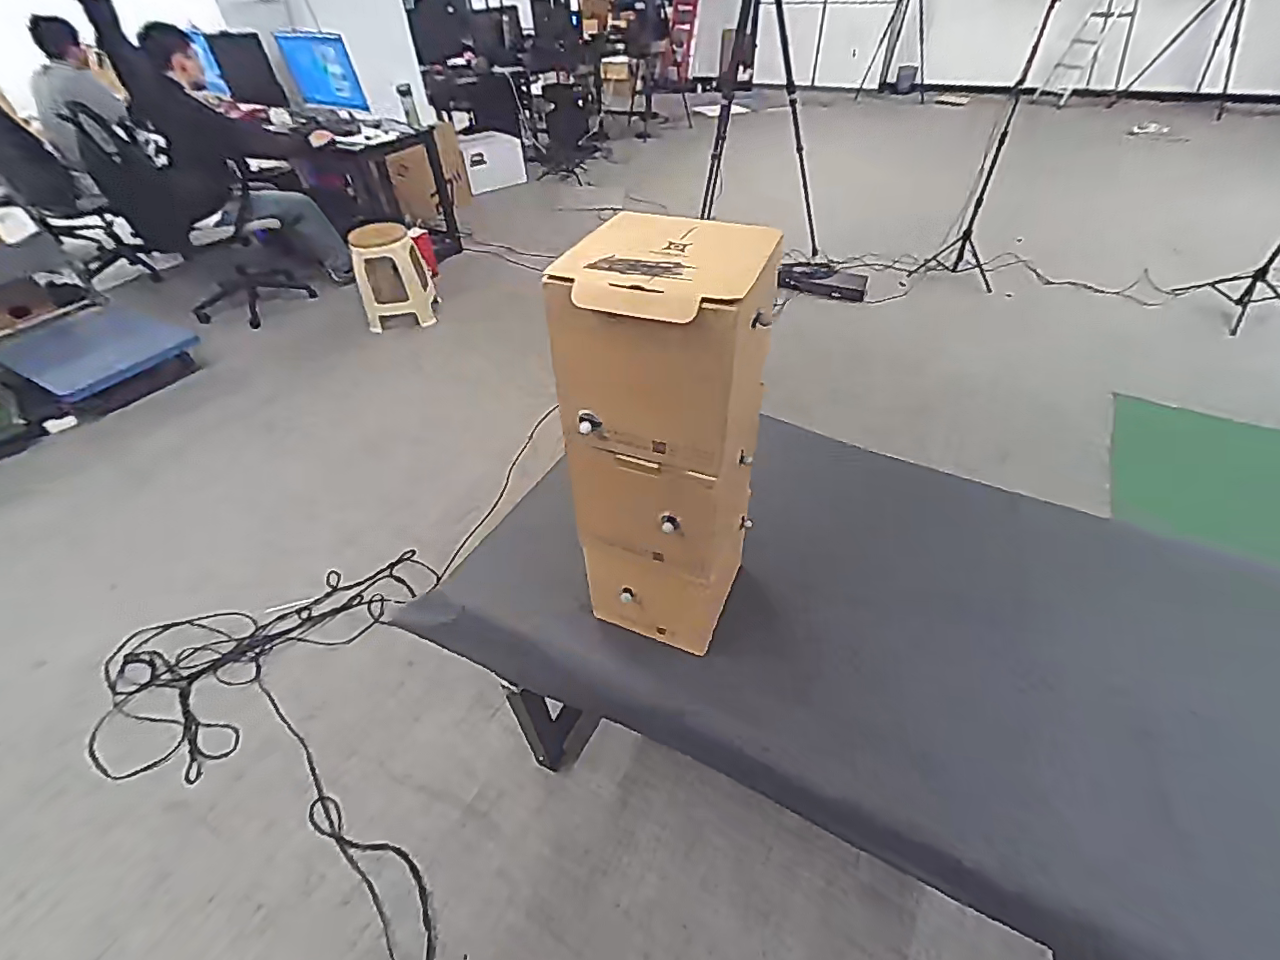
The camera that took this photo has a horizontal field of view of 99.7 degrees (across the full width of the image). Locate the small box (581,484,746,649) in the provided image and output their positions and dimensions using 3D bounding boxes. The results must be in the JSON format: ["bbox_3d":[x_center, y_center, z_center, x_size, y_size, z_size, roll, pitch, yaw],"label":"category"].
[{"bbox_3d":[0.038,0.100,0.744,0.168,0.176,0.179,16,46,18],"label":"small box"}]

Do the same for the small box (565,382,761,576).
[{"bbox_3d":[0.032,-0.017,0.632,0.168,0.176,0.179,16,45,16],"label":"small box"}]

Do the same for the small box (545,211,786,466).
[{"bbox_3d":[0.030,-0.138,0.521,0.168,0.176,0.179,15,45,15],"label":"small box"}]
